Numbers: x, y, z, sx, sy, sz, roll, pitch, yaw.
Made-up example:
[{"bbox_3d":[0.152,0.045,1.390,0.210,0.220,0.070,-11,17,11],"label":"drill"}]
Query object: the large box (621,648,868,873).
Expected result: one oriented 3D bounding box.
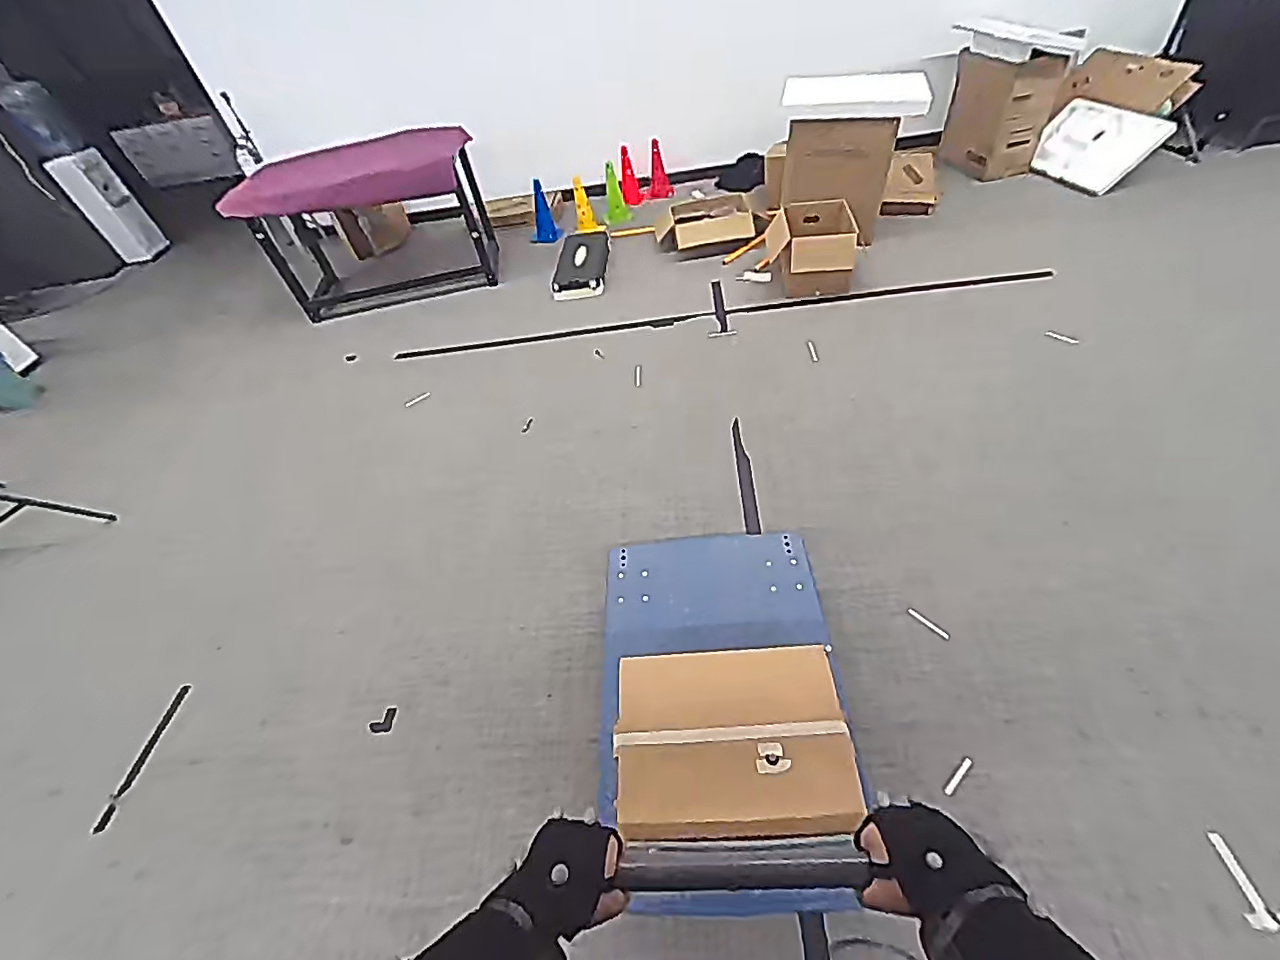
[{"bbox_3d":[0.181,0.565,1.081,0.408,0.320,0.320,-6,48,4],"label":"large box"}]
